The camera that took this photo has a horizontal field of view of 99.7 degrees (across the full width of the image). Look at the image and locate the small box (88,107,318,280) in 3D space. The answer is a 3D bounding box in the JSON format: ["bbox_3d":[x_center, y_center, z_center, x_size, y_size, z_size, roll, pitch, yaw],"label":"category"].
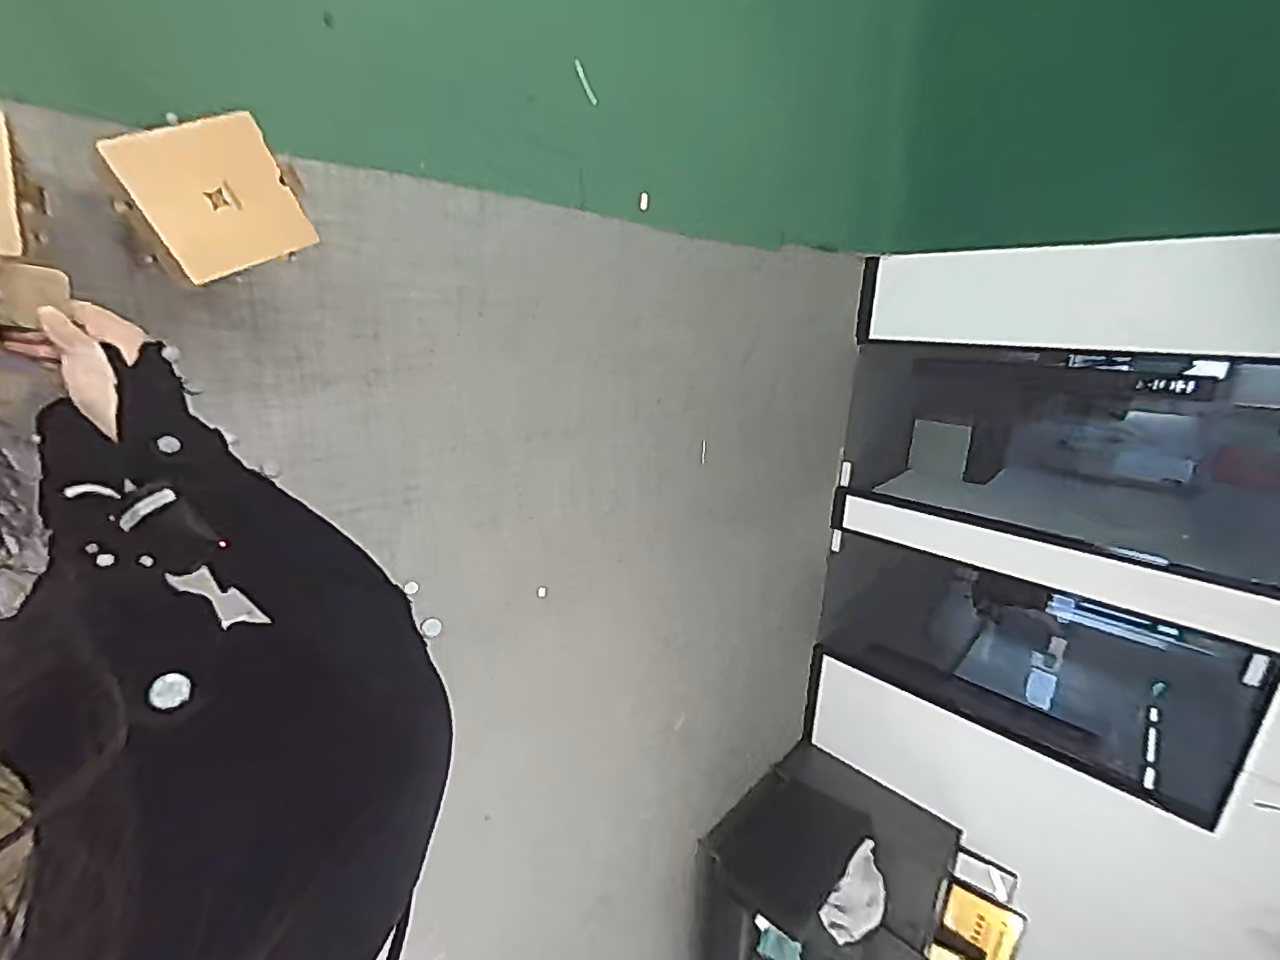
[{"bbox_3d":[-0.594,-0.384,0.741,0.179,0.176,0.168,-41,132,-31],"label":"small box"}]

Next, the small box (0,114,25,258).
[{"bbox_3d":[-0.892,-0.381,0.664,0.168,0.176,0.179,-6,108,-45],"label":"small box"}]
